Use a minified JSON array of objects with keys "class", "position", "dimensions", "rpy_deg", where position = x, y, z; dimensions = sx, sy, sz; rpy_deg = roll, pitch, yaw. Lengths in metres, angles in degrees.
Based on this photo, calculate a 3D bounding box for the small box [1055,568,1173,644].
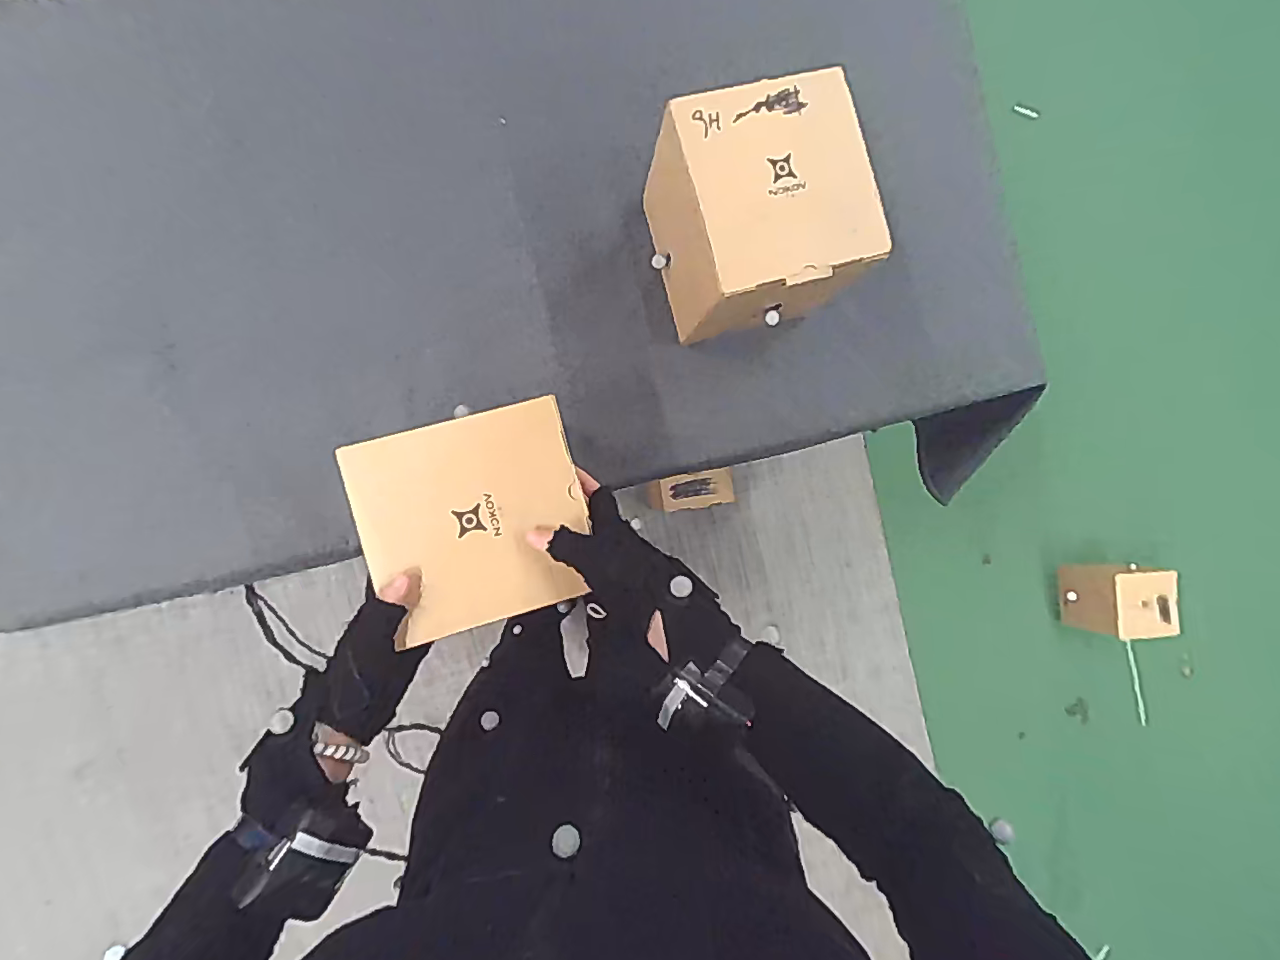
[{"class":"small box","position":[1.255,0.329,1.440],"dimensions":[0.179,0.176,0.168],"rpy_deg":[-2,89,-7]}]

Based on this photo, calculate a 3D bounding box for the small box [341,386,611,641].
[{"class":"small box","position":[-0.136,0.029,0.500],"dimensions":[0.179,0.176,0.168],"rpy_deg":[-16,89,-10]}]

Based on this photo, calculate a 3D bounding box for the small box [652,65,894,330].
[{"class":"small box","position":[0.120,-0.265,0.551],"dimensions":[0.168,0.176,0.179],"rpy_deg":[-15,92,-8]}]
